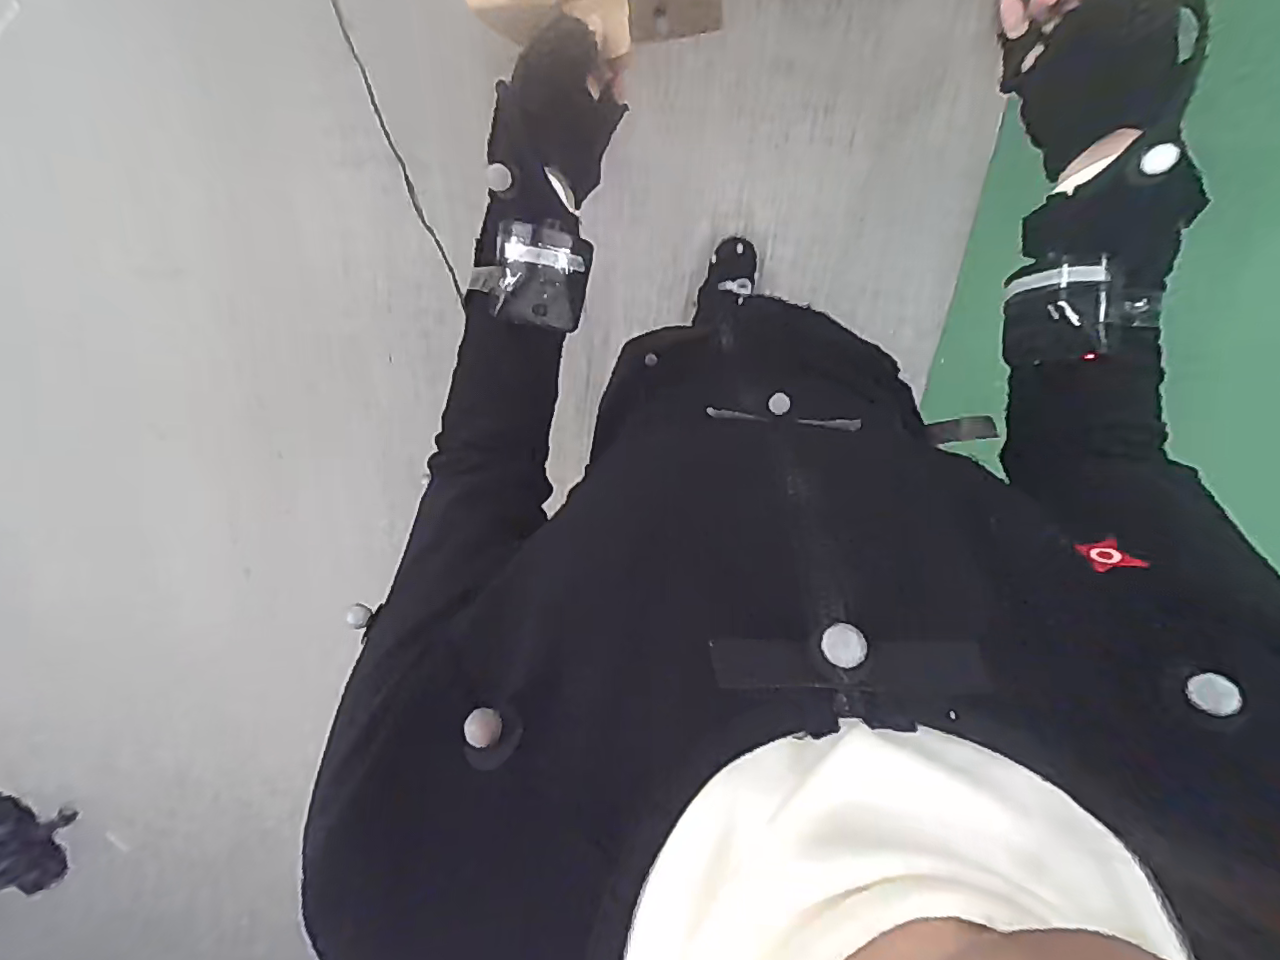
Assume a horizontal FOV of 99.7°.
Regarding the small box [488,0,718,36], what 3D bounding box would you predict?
[{"bbox_3d":[-0.030,-0.437,0.369,0.168,0.176,0.179,-3,116,11],"label":"small box"}]
